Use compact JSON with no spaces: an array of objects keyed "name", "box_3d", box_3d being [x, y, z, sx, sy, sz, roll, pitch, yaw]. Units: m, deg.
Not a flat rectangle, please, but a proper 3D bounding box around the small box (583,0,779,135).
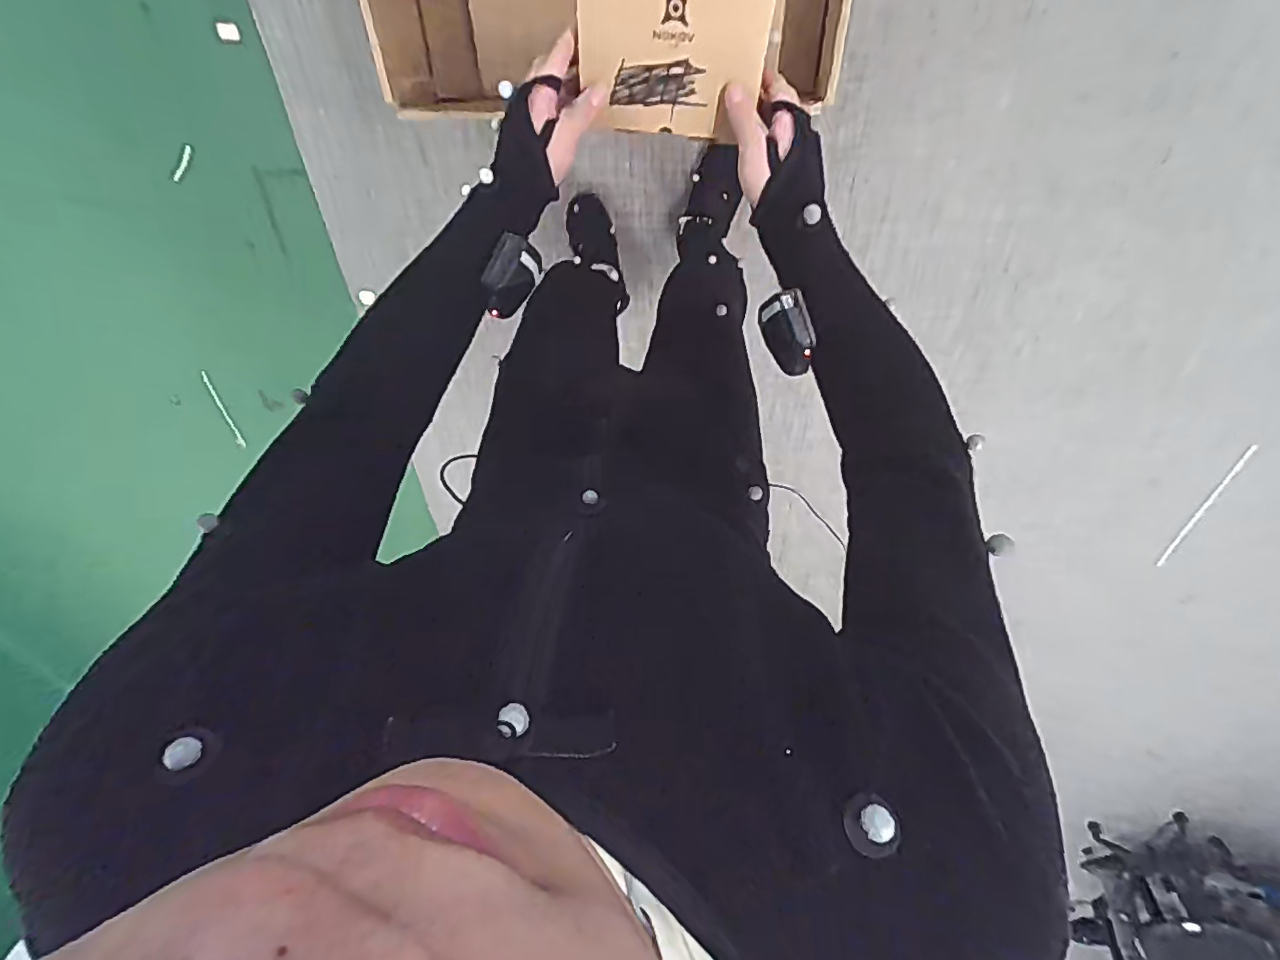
[{"name":"small box","box_3d":[0.042,-0.456,0.501,0.168,0.176,0.179,7,141,1]}]
